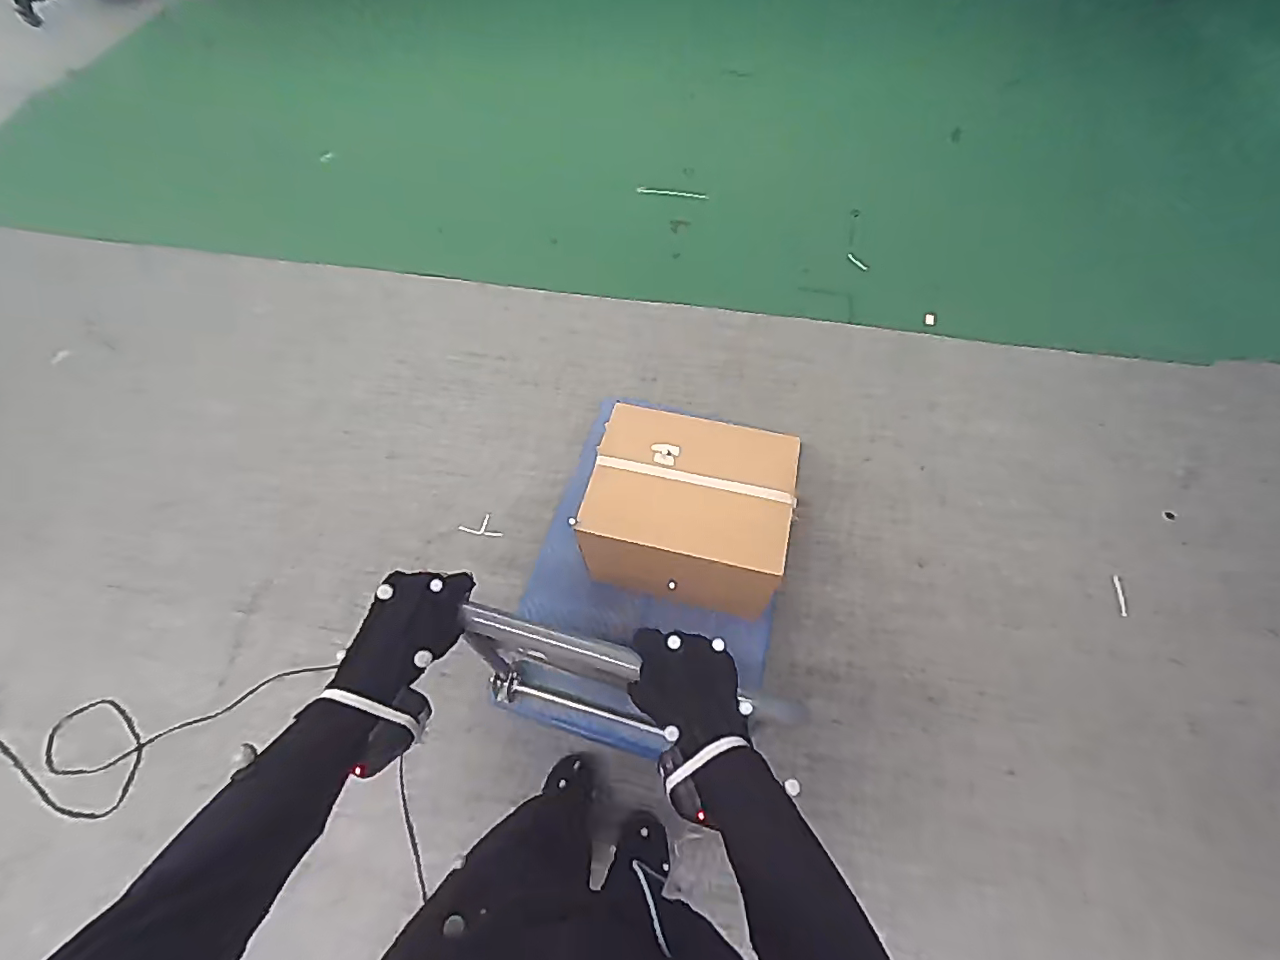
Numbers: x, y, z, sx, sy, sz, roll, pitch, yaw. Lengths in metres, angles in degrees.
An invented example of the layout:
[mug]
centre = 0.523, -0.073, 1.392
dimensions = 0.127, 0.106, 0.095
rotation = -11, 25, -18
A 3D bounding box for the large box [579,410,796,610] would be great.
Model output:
[large box]
centre = 0.113, 0.078, 1.231
dimensions = 0.408, 0.320, 0.320
rotation = 11, 62, 9
